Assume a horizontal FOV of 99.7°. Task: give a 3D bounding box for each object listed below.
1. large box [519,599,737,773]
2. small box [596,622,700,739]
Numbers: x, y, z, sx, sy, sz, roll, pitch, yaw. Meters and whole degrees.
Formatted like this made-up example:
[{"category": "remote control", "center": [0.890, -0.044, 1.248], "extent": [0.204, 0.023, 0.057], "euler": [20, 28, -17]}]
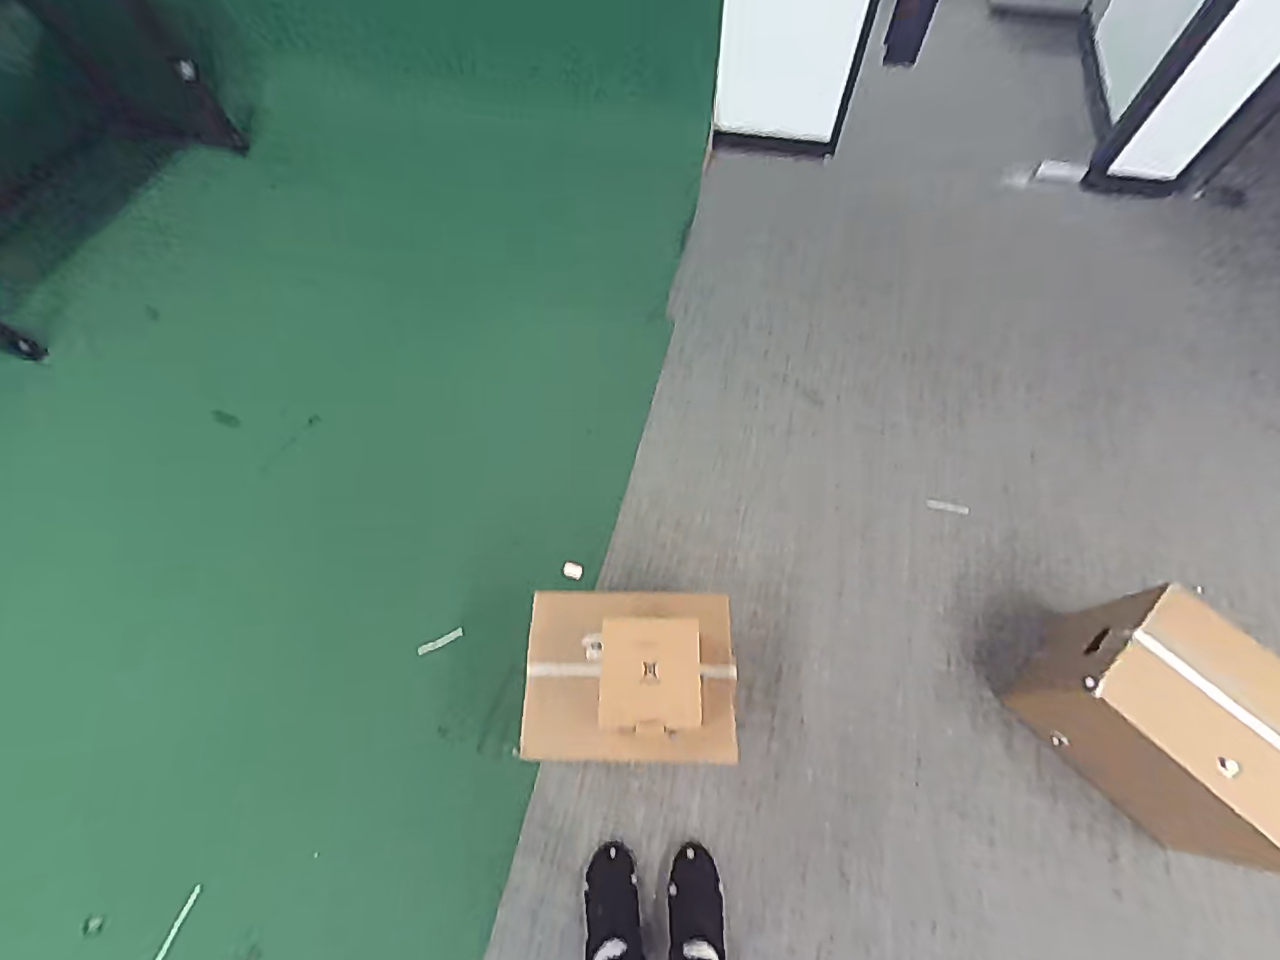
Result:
[{"category": "large box", "center": [-0.014, 0.452, 1.172], "extent": [0.408, 0.320, 0.320], "euler": [-1, 62, 3]}, {"category": "small box", "center": [0.019, 0.354, 0.945], "extent": [0.168, 0.176, 0.179], "euler": [0, 64, 2]}]
